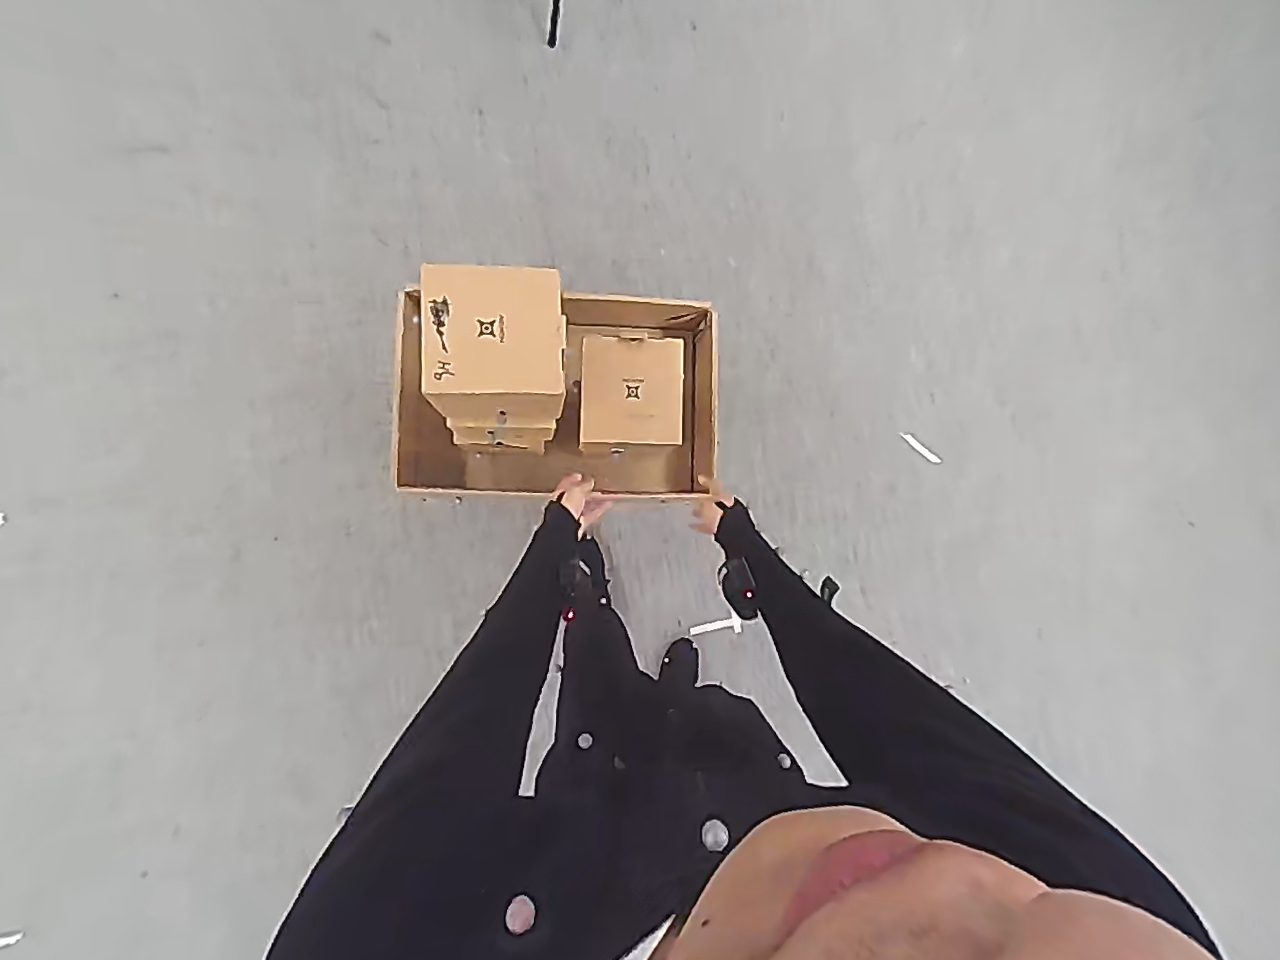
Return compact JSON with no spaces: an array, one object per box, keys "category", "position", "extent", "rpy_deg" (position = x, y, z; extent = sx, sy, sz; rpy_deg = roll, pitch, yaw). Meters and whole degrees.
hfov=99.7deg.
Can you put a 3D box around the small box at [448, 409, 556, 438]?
[{"category":"small box","position":[-0.226,-0.167,0.919],"extent":[0.168,0.176,0.179],"rpy_deg":[1,86,-11]}]

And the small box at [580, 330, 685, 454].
[{"category":"small box","position":[-0.019,-0.144,0.943],"extent":[0.168,0.176,0.179],"rpy_deg":[2,87,-6]}]

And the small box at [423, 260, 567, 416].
[{"category":"small box","position":[-0.197,-0.186,0.759],"extent":[0.179,0.176,0.168],"rpy_deg":[-1,86,-11]}]
